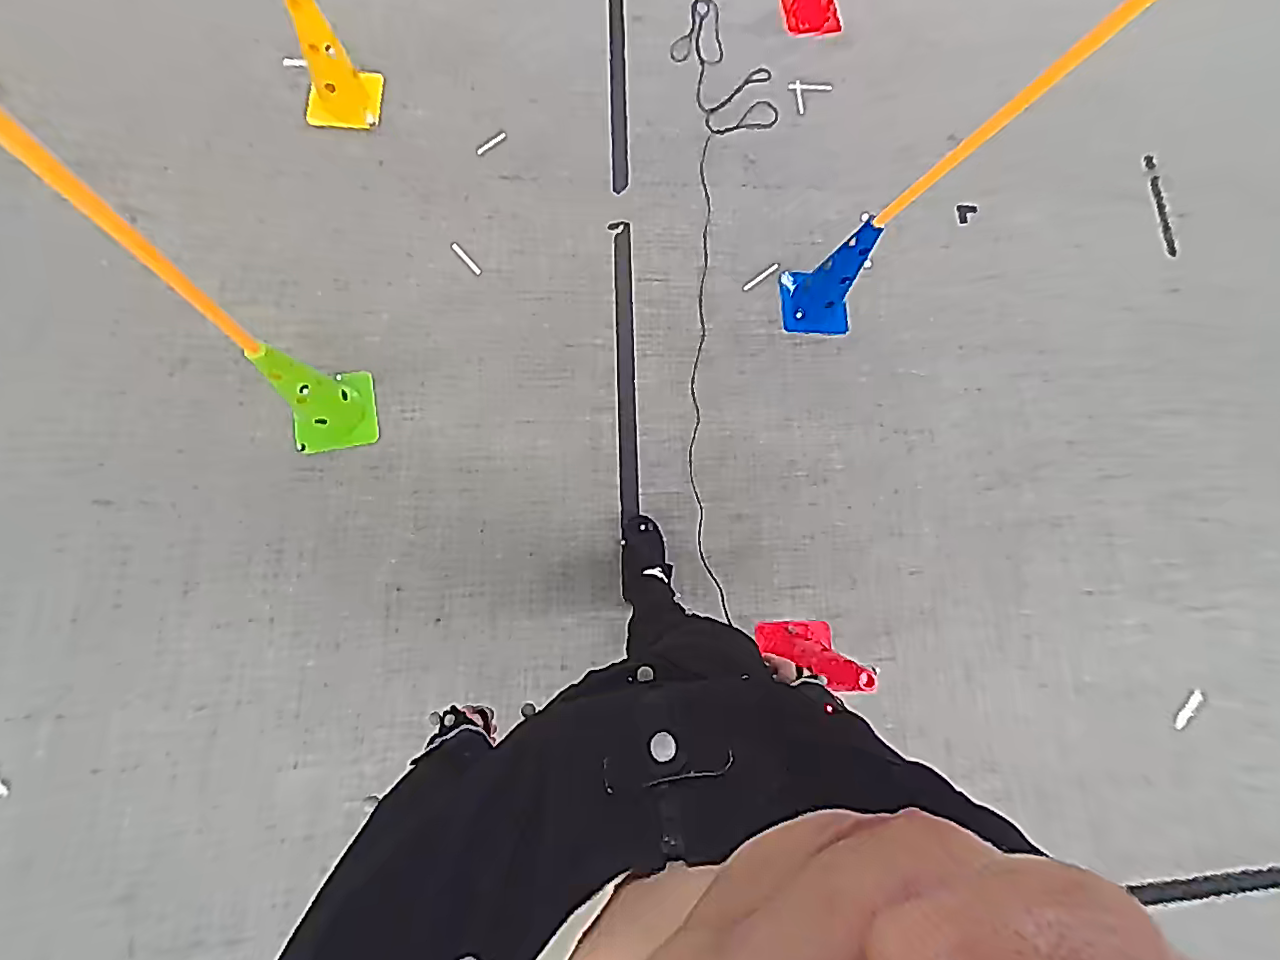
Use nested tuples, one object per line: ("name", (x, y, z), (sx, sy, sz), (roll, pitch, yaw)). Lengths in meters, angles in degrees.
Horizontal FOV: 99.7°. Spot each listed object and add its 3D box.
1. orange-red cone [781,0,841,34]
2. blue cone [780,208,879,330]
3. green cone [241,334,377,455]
("orange-red cone", (0.601, -1.655, 1.697), (0.199, 0.360, 0.198), (-6, 77, -6))
("blue cone", (0.531, -0.573, 1.451), (0.193, 0.380, 0.192), (2, 76, -6))
("green cone", (-0.765, -0.216, 1.217), (0.200, 0.368, 0.202), (-12, 76, -9))
